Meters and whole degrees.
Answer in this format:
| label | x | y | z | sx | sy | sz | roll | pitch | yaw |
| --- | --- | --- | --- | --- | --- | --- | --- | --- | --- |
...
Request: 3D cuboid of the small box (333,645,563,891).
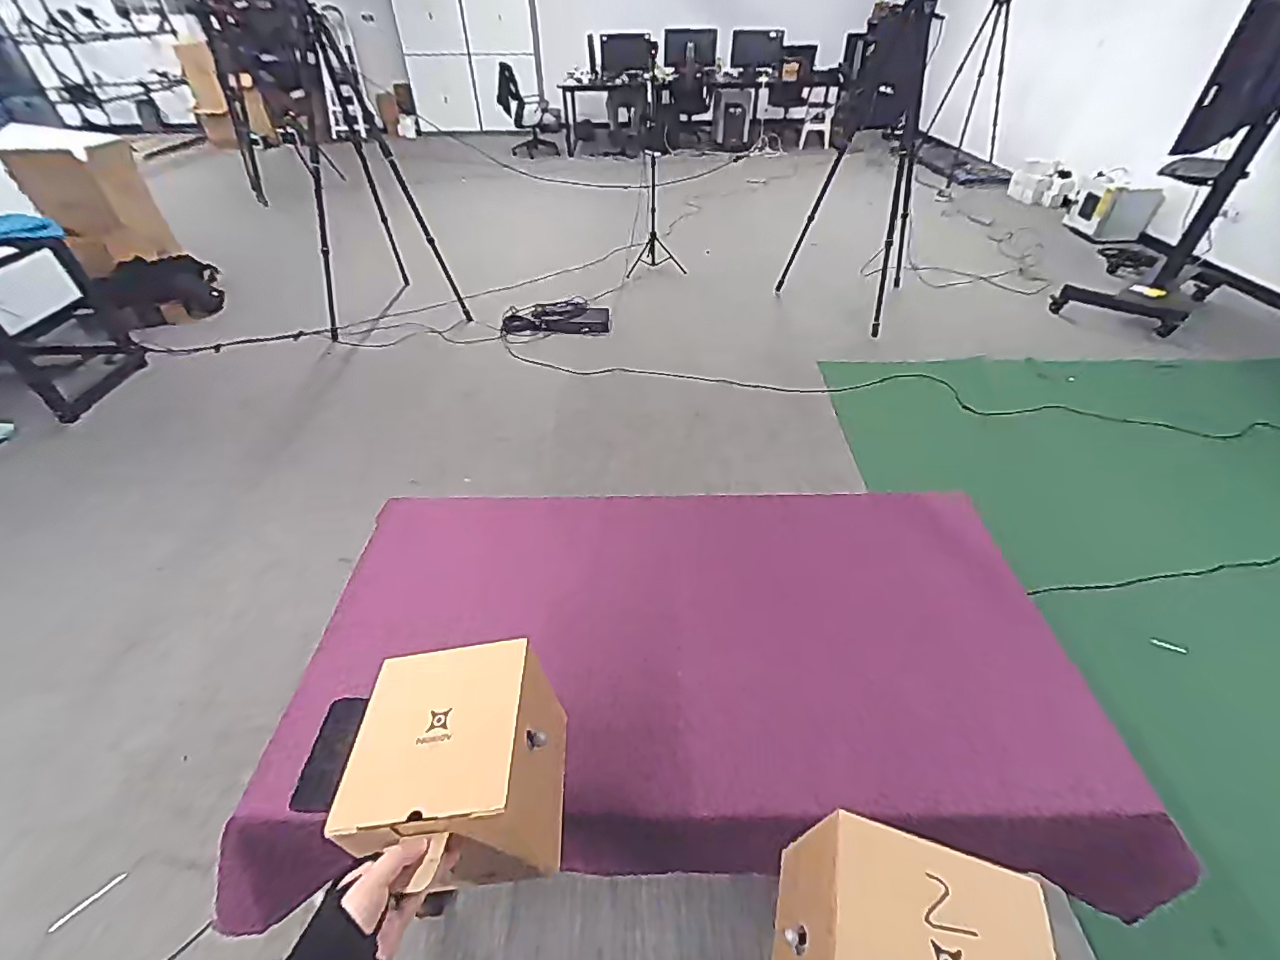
| label | x | y | z | sx | sy | sz | roll | pitch | yaw |
| --- | --- | --- | --- | --- | --- | --- | --- | --- | --- |
| small box | -0.184 | 0.309 | 0.587 | 0.168 | 0.176 | 0.179 | -9 | 38 | 4 |
